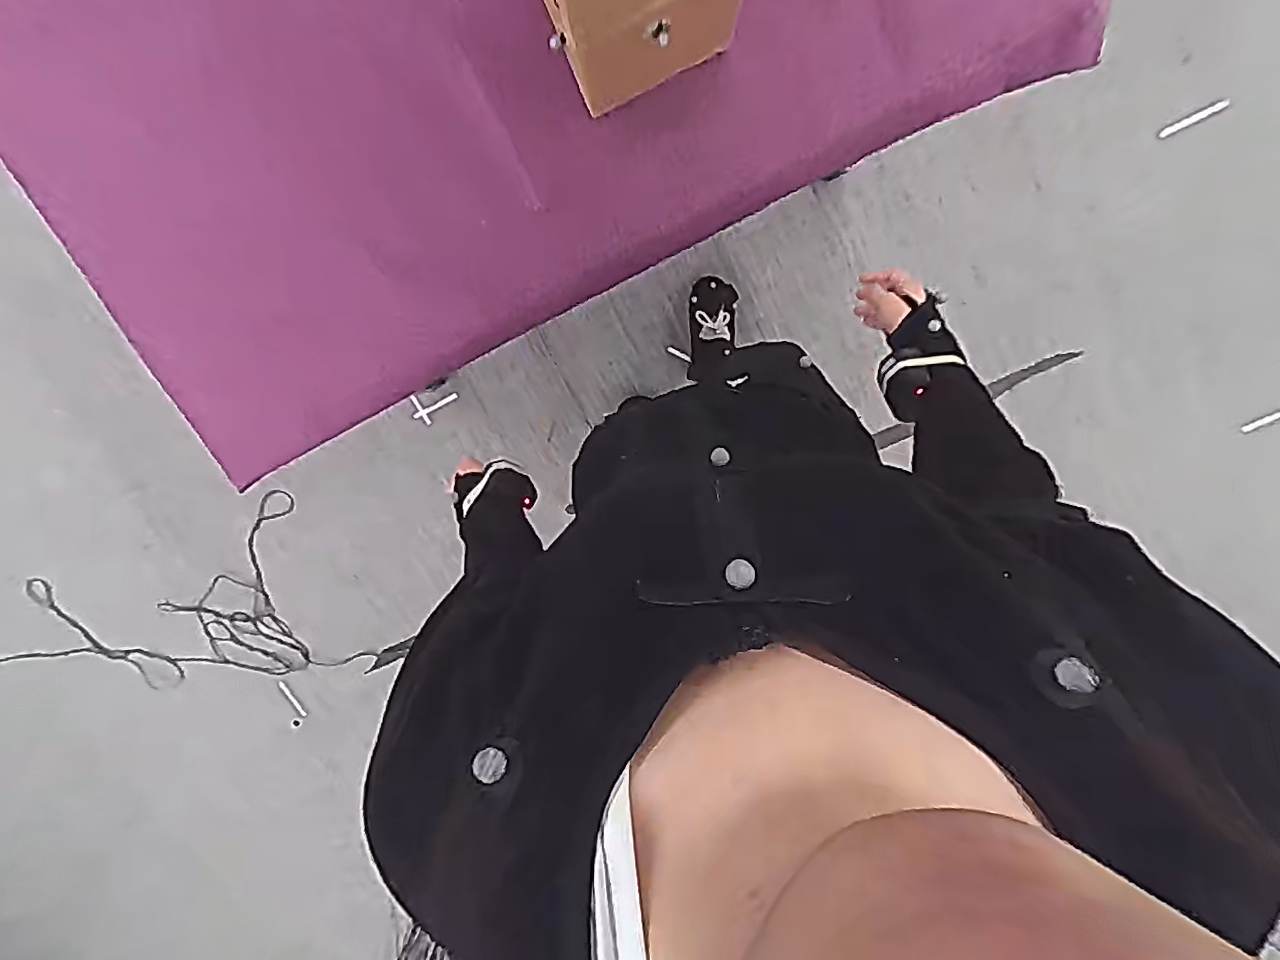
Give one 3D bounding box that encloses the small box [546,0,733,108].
[{"bbox_3d":[-0.011,-0.509,0.526,0.179,0.176,0.168,-23,105,7],"label":"small box"}]
